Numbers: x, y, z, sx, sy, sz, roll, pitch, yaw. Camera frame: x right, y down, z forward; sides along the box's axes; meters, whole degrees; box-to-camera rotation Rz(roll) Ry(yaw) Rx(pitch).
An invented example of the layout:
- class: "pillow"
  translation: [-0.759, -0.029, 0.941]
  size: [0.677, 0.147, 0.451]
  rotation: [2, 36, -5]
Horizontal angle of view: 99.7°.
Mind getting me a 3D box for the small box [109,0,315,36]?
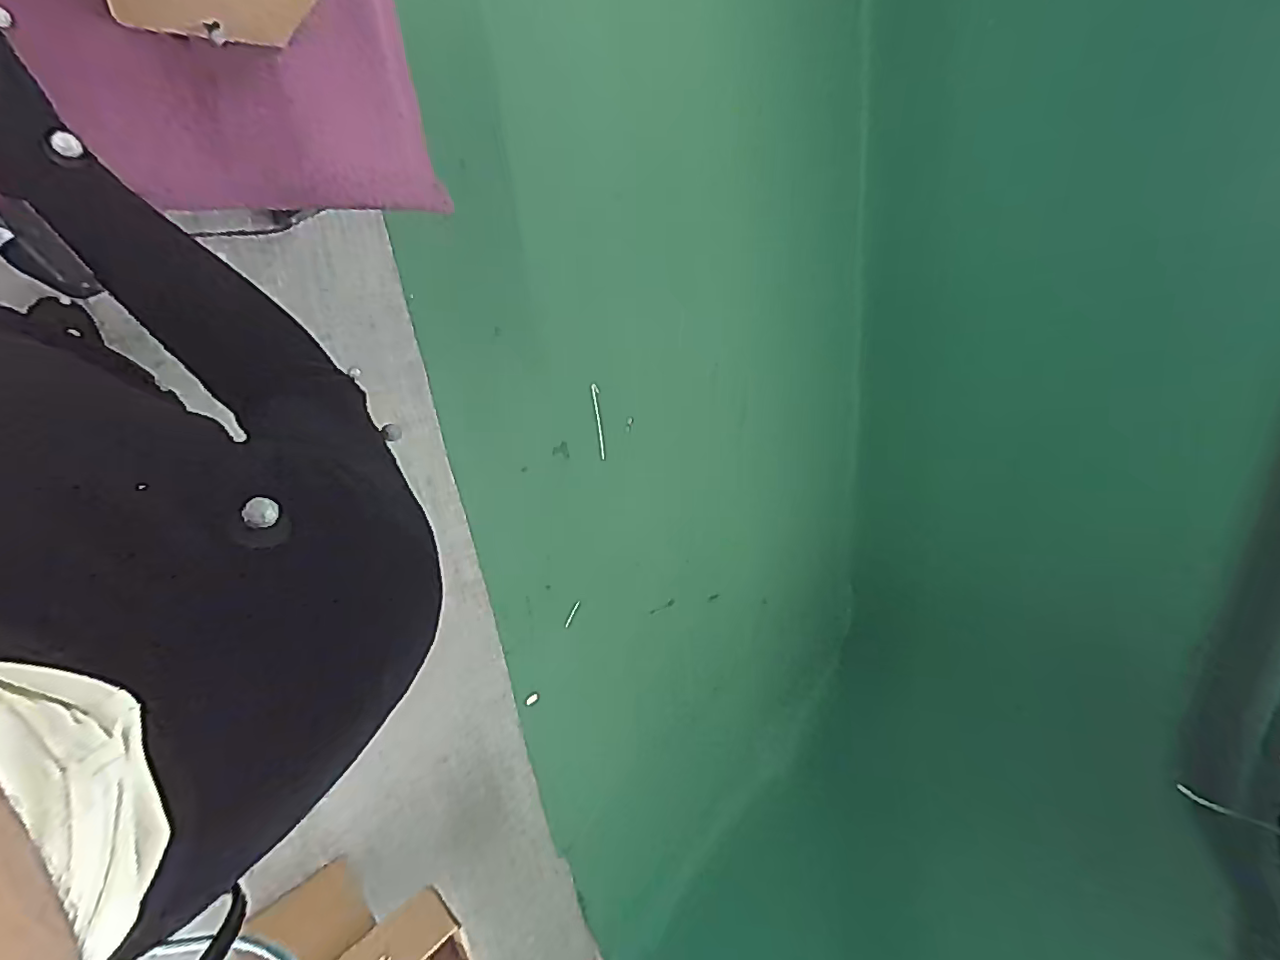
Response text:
- class: "small box"
  translation: [-0.488, -0.616, 0.584]
  size: [0.179, 0.176, 0.168]
  rotation: [-28, 120, -39]
